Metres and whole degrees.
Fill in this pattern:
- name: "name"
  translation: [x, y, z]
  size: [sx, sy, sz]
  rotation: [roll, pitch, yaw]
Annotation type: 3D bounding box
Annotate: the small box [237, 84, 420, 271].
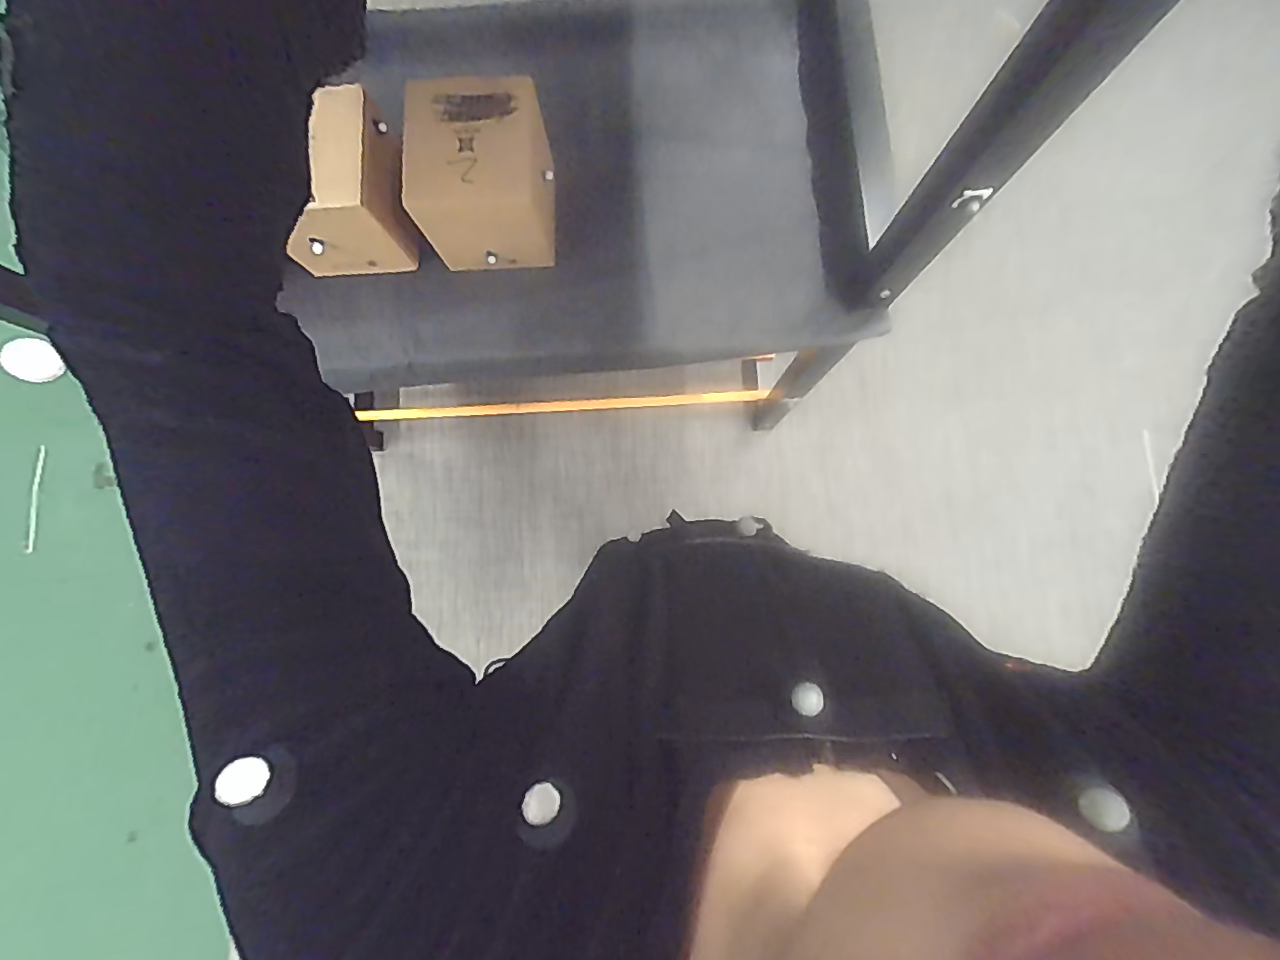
- name: "small box"
  translation: [-0.430, -0.416, 0.773]
  size: [0.168, 0.176, 0.179]
  rotation: [-3, 81, 1]
